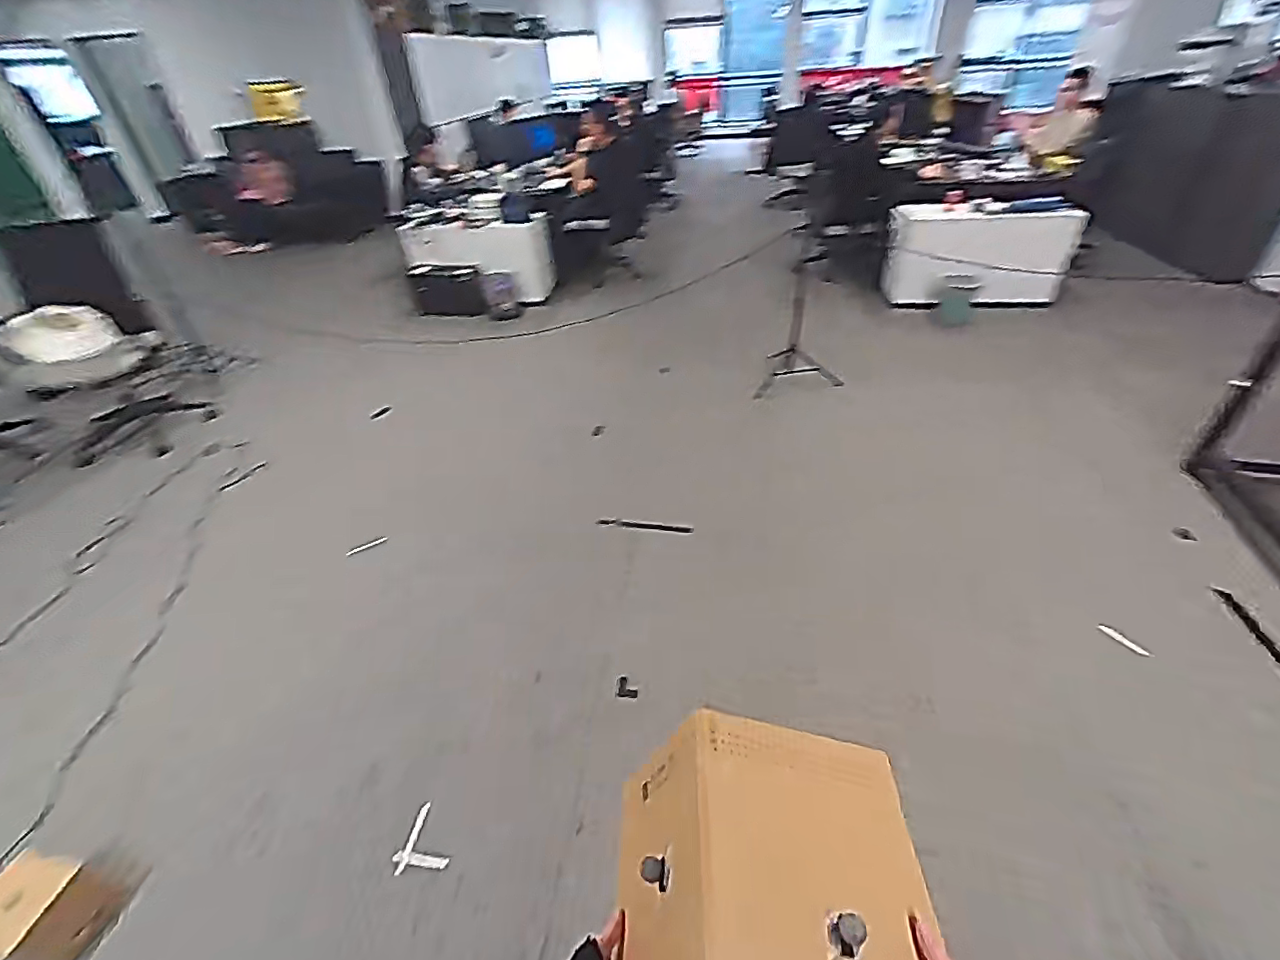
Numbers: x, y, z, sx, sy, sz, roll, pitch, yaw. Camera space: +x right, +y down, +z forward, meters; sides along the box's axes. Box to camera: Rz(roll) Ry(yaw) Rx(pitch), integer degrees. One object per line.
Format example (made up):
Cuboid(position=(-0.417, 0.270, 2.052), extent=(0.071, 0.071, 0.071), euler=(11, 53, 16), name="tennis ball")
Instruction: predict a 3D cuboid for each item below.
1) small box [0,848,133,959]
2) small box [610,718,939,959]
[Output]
Cuboid(position=(-1.333, 0.971, 1.225), extent=(0.179, 0.176, 0.168), euler=(4, 40, 9), name="small box")
Cuboid(position=(0.080, 0.306, 0.410), extent=(0.179, 0.168, 0.176), euler=(17, 36, -13), name="small box")
